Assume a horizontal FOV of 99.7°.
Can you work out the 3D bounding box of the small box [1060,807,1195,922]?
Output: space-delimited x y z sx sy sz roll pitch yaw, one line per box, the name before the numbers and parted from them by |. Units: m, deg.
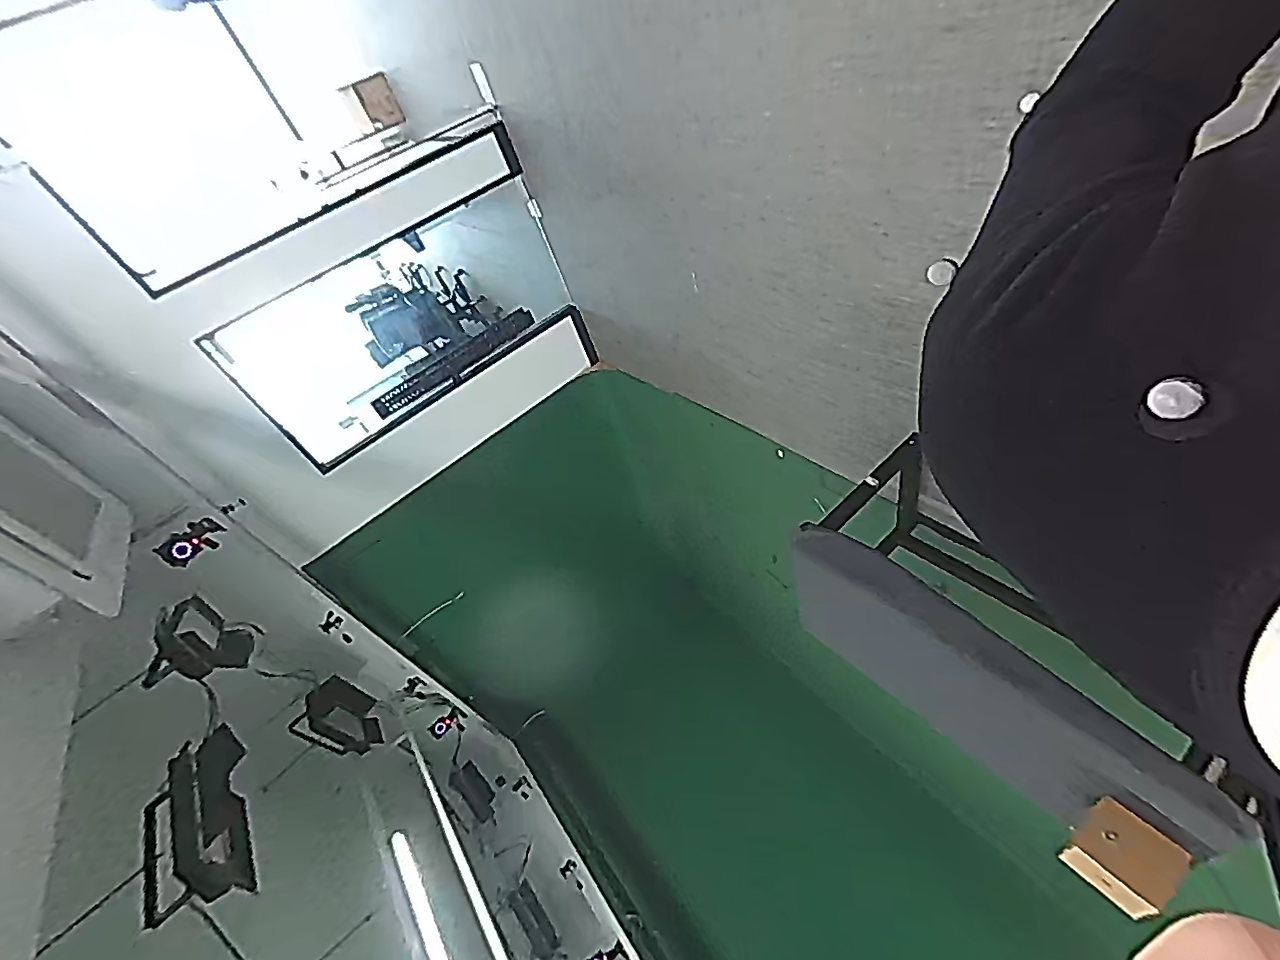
small box | 1.222 0.961 1.363 0.179 0.176 0.168 37 160 40
